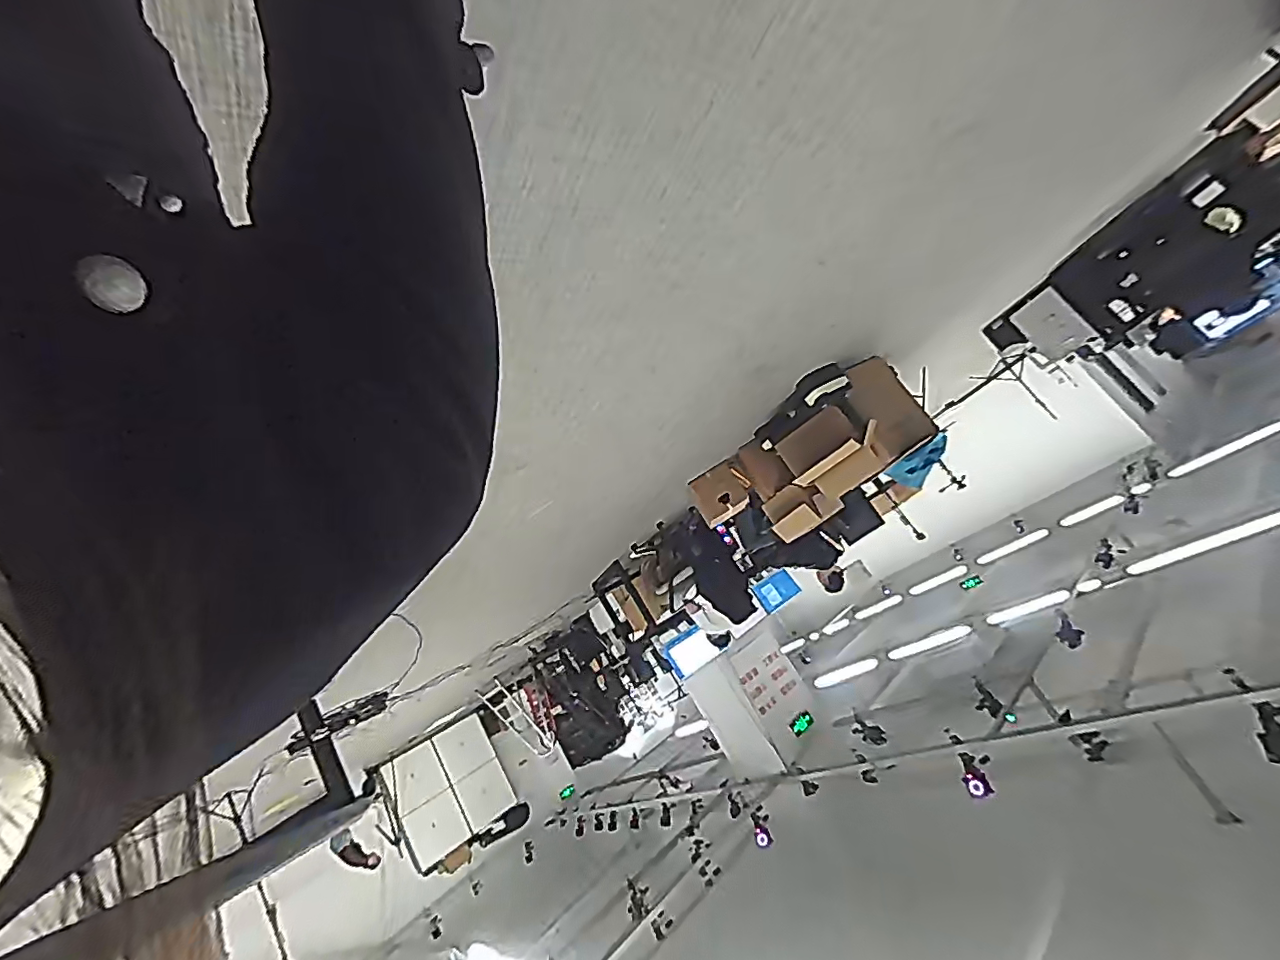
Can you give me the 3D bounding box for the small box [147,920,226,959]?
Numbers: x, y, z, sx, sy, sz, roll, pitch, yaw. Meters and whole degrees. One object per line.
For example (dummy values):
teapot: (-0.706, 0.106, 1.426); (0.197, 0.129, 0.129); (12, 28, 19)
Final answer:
small box: (-1.320, 1.421, 1.560); (0.179, 0.176, 0.168); (-19, 160, -38)
